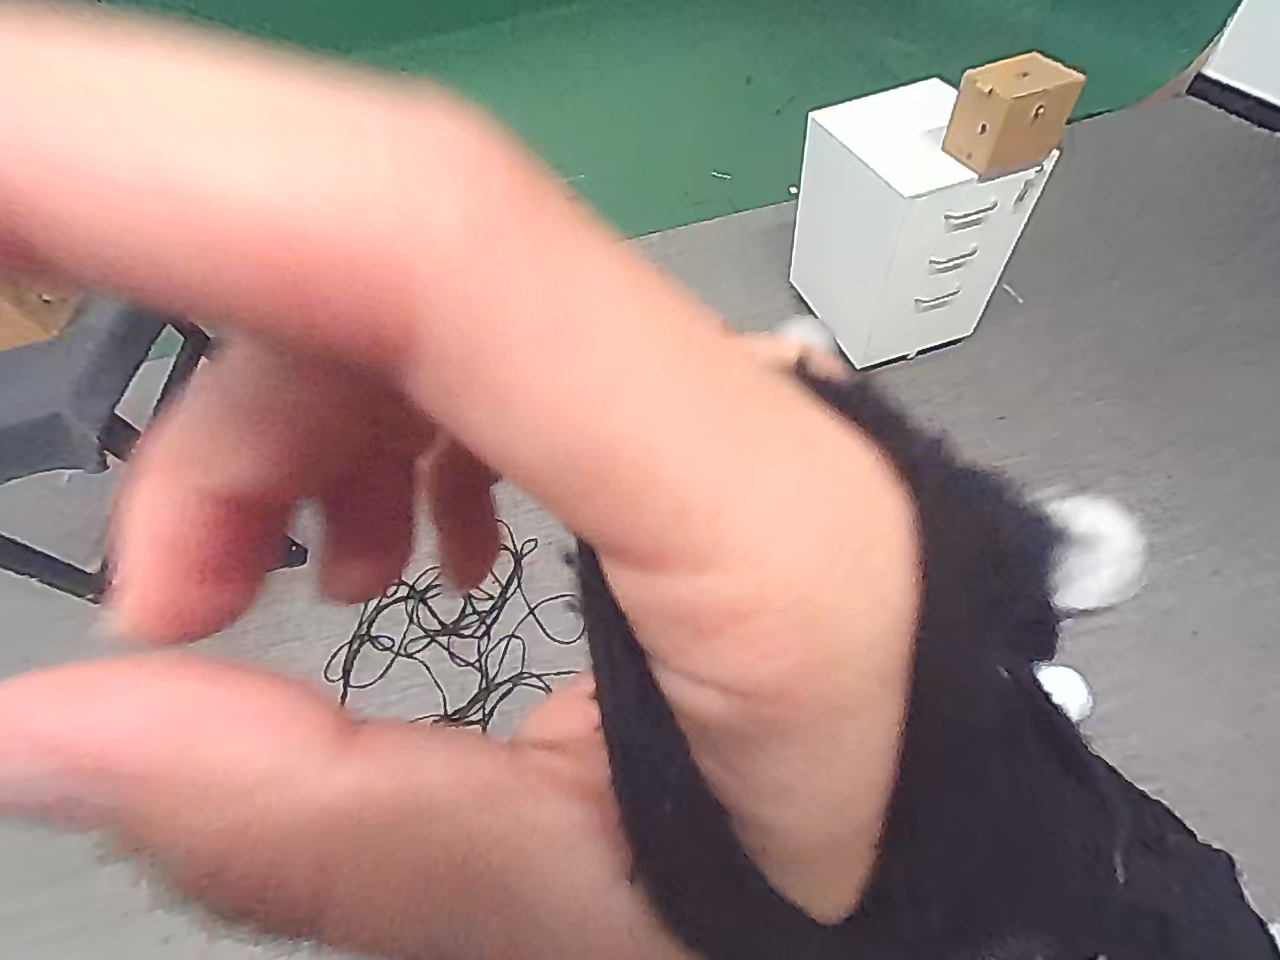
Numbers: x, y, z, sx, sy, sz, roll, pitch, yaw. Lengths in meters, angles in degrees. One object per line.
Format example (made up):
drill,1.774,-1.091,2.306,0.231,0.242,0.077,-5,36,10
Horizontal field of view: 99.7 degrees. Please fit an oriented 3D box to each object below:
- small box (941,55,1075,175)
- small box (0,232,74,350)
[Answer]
small box,0.829,-0.834,1.246,0.179,0.176,0.168,-17,56,-4
small box,-1.362,-0.378,1.119,0.179,0.176,0.168,-15,54,-2
